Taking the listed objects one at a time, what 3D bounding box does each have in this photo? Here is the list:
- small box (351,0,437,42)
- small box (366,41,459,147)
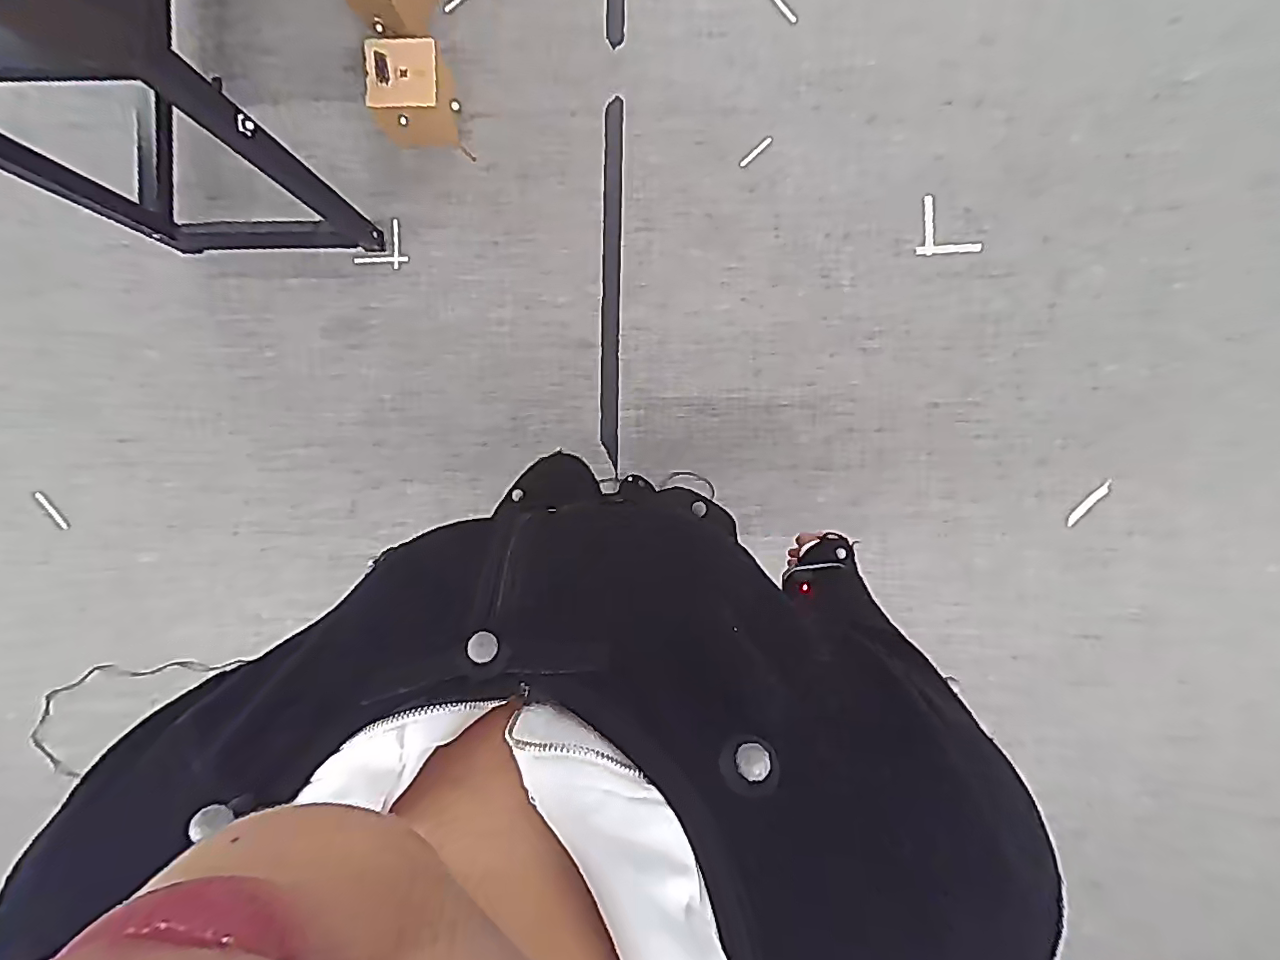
[{"bbox_3d":[-0.652,-1.292,1.405,0.168,0.176,0.179,21,93,2],"label":"small box"},{"bbox_3d":[-0.588,-0.998,1.410,0.179,0.176,0.168,-1,92,0],"label":"small box"}]
